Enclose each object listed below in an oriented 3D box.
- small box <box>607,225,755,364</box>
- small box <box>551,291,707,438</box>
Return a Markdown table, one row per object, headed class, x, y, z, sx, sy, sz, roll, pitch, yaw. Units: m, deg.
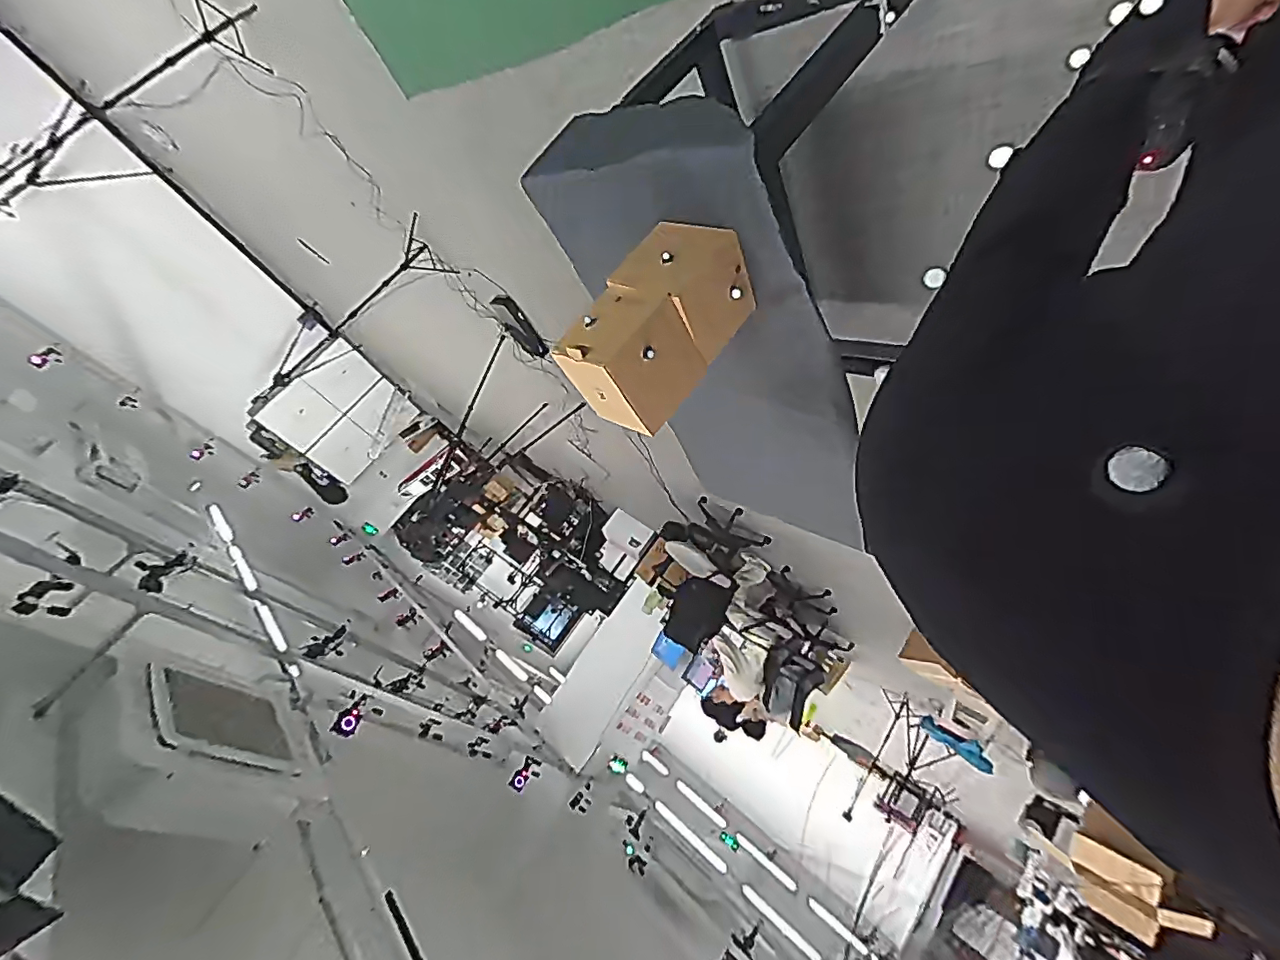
| class | x | y | z | sx | sy | sz | roll | pitch | yaw |
| --- | --- | --- | --- | --- | --- | --- | --- | --- | --- |
| small box | 0.079 | -0.337 | 0.980 | 0.179 | 0.176 | 0.168 | 27 | 162 | 37 |
| small box | -0.015 | -0.208 | 0.947 | 0.168 | 0.176 | 0.179 | 26 | 163 | 45 |
